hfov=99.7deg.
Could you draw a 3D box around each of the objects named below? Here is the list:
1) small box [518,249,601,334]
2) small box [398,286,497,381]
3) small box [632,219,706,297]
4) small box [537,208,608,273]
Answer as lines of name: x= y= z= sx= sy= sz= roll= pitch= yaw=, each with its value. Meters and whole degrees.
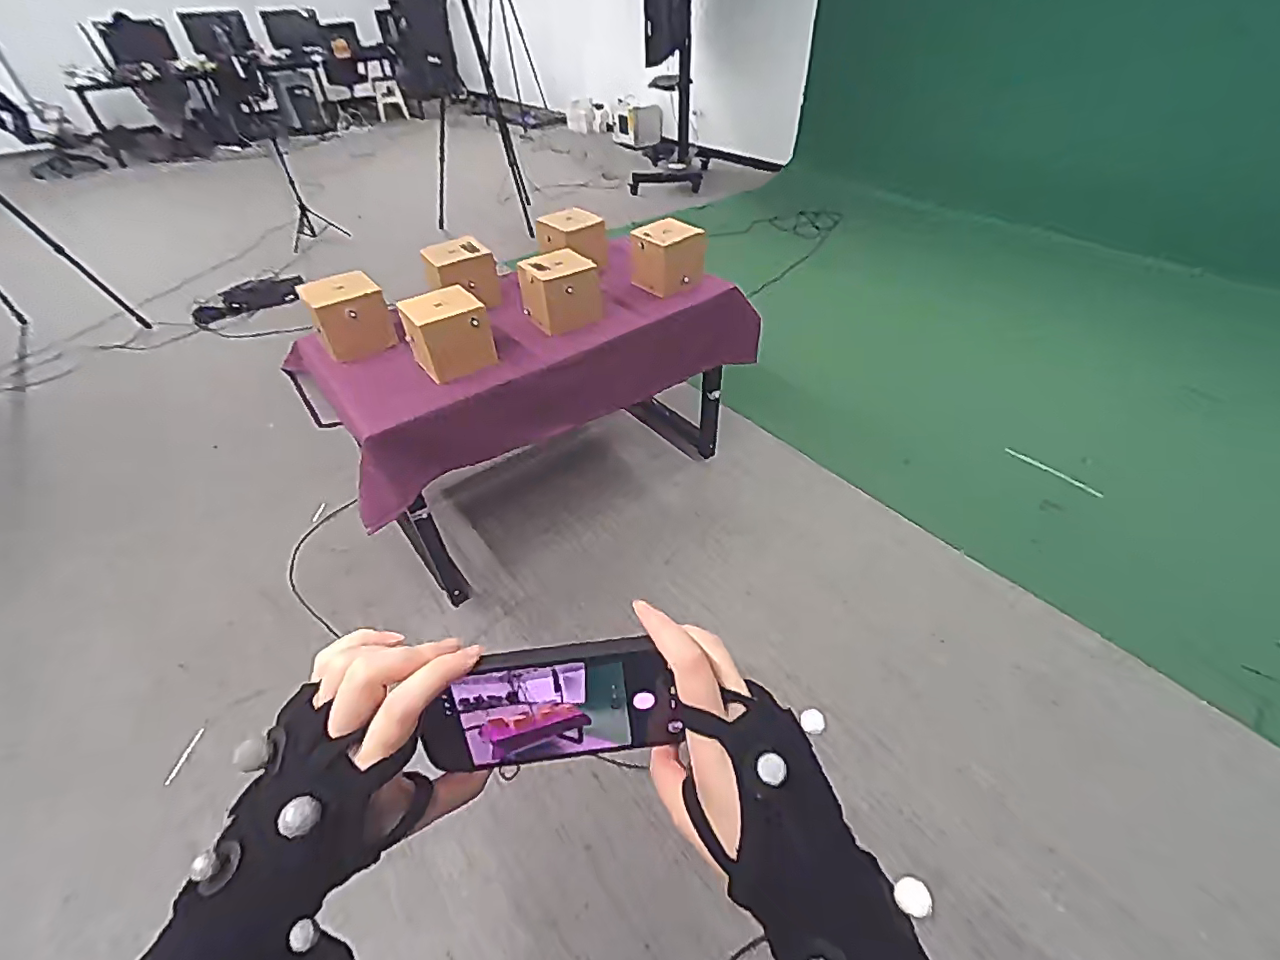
small box: x=-0.229 y=-0.547 z=1.574 sx=0.179 sy=0.176 sz=0.168 roll=-26 pitch=49 yaw=-24
small box: x=-0.496 y=-0.381 z=1.414 sx=0.179 sy=0.176 sz=0.168 roll=-28 pitch=49 yaw=-26
small box: x=0.089 y=-0.710 z=1.730 sx=0.179 sy=0.176 sz=0.168 roll=-30 pitch=50 yaw=-26
small box: x=-0.227 y=-0.801 z=1.837 sx=0.168 sy=0.176 sz=0.179 roll=-32 pitch=52 yaw=-27
